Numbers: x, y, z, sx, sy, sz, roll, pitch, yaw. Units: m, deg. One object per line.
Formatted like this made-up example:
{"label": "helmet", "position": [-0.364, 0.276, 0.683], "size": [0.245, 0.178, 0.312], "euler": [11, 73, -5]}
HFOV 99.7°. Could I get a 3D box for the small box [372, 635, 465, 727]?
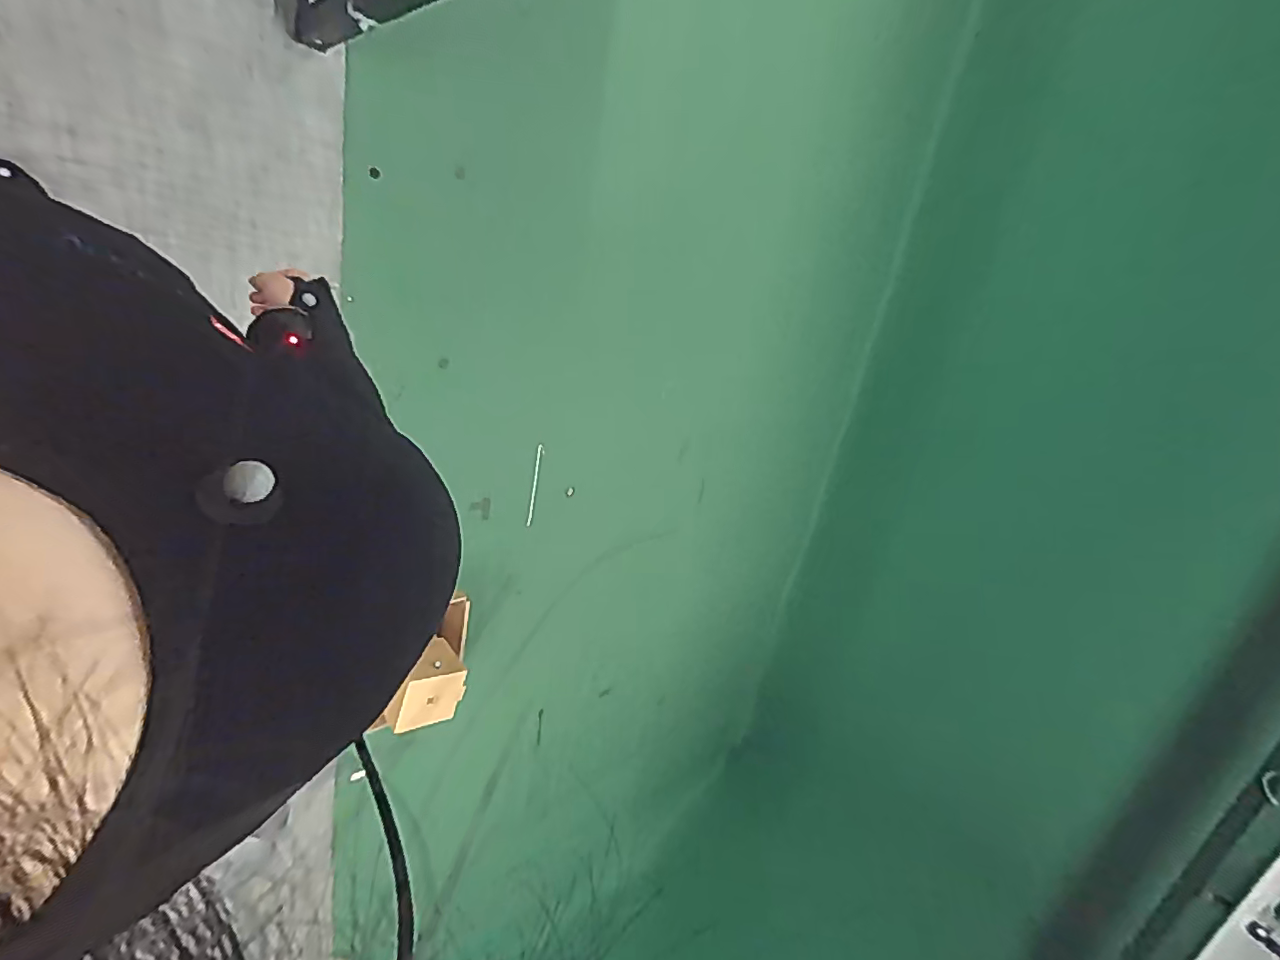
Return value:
{"label": "small box", "position": [-0.638, 0.566, 1.545], "size": [0.179, 0.176, 0.168], "euler": [7, 107, -49]}
